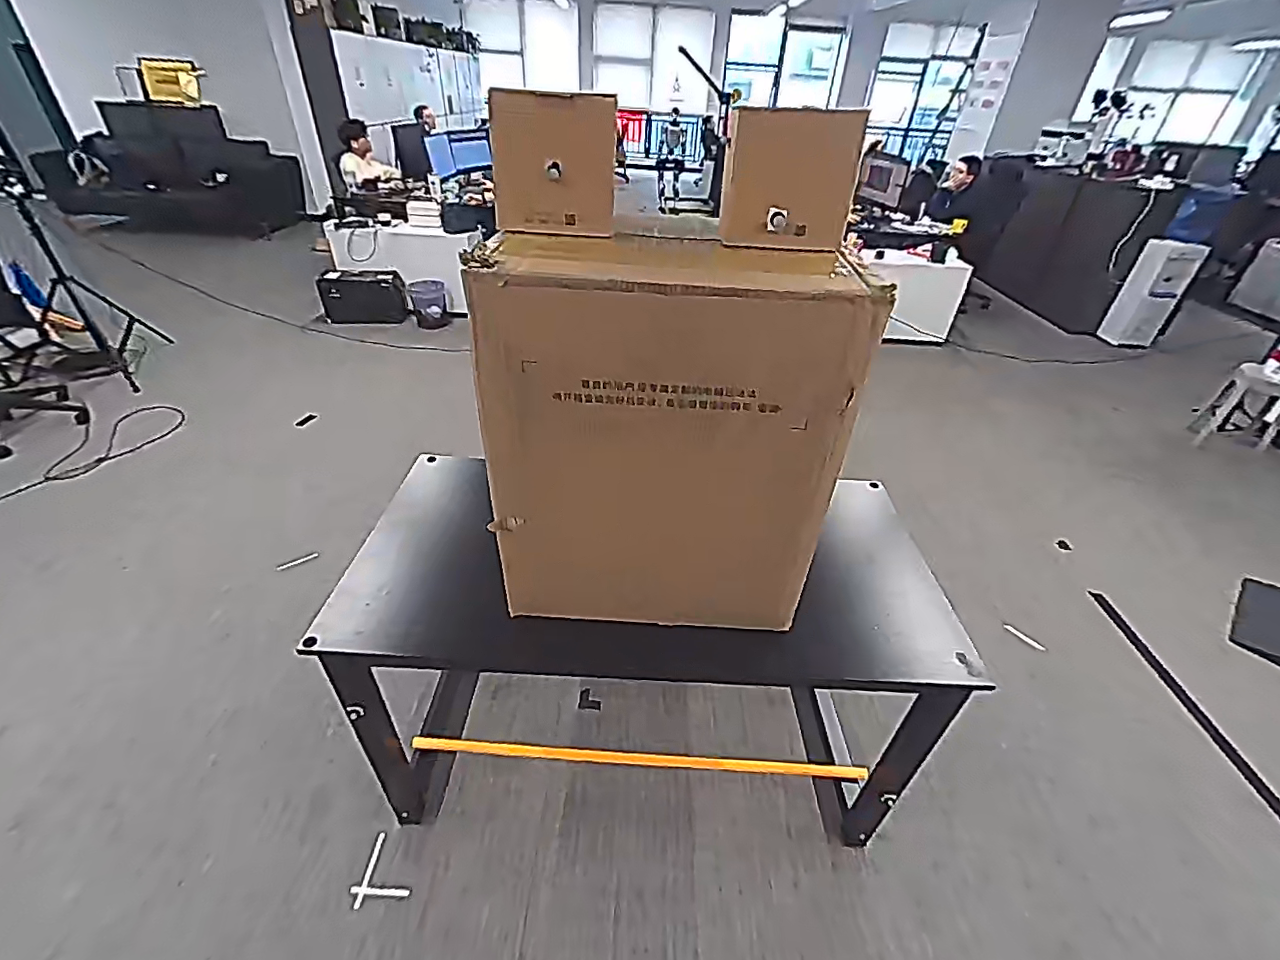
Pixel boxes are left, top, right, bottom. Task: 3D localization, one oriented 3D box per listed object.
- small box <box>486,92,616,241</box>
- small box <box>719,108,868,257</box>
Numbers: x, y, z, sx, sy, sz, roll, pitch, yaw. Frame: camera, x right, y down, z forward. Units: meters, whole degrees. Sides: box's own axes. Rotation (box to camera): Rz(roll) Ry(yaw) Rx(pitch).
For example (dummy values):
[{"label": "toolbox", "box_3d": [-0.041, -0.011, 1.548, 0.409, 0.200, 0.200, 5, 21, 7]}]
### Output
[{"label": "small box", "box_3d": [-0.119, -0.459, 0.793, 0.168, 0.176, 0.179, 1, 35, -5]}, {"label": "small box", "box_3d": [0.208, -0.436, 0.788, 0.168, 0.176, 0.179, 3, 35, 3]}]
